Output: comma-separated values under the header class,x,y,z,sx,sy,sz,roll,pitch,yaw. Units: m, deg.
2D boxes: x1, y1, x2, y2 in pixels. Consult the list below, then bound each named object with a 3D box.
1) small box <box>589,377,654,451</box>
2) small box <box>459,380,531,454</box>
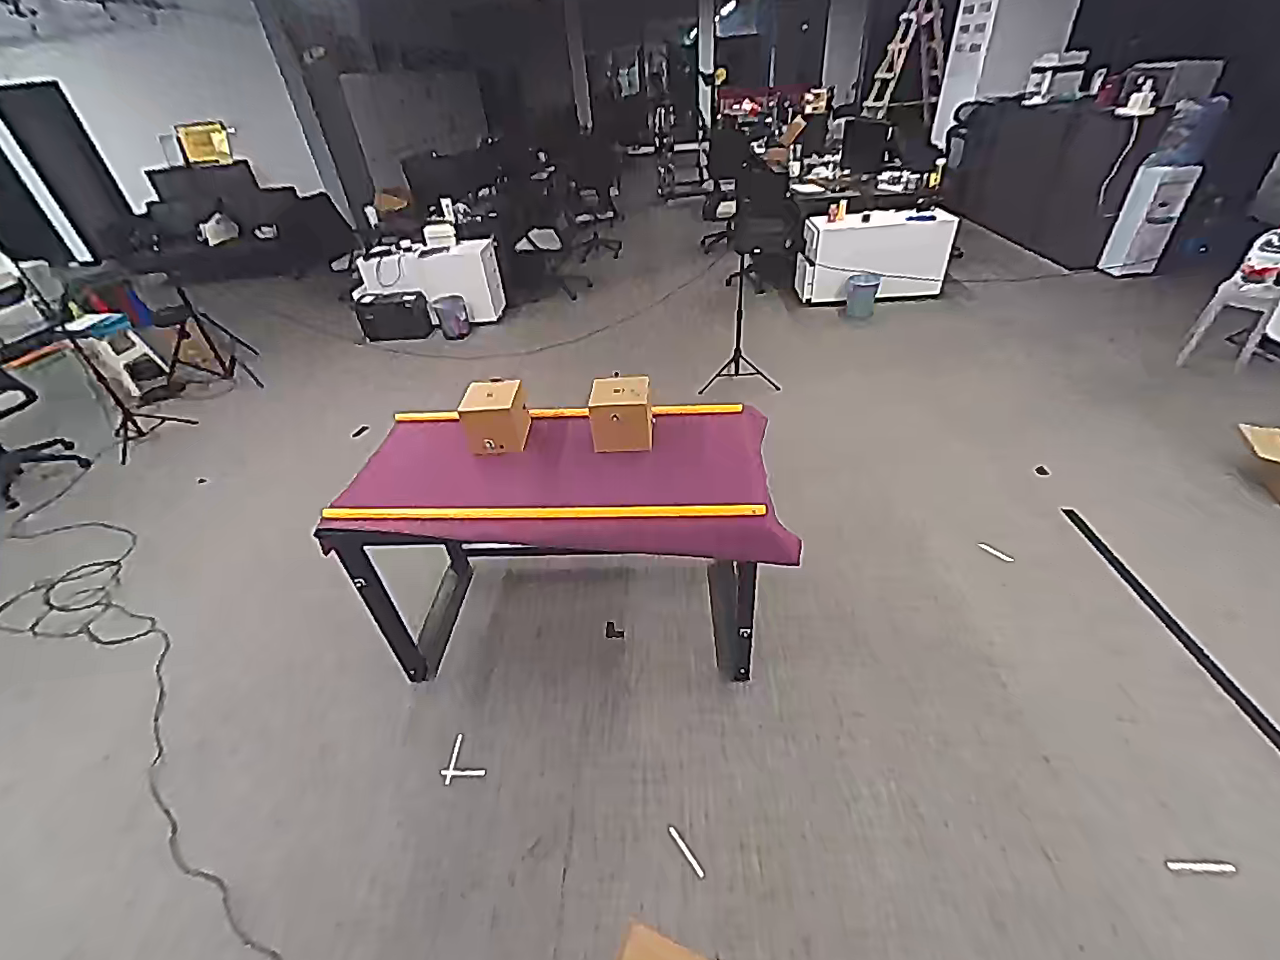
class,x,y,z,sx,sy,sz,roll,pitch,yaw
small box,-0.052,-0.202,1.674,0.179,0.176,0.168,-1,39,5
small box,-0.451,-0.200,1.720,0.168,0.176,0.179,-3,38,4
